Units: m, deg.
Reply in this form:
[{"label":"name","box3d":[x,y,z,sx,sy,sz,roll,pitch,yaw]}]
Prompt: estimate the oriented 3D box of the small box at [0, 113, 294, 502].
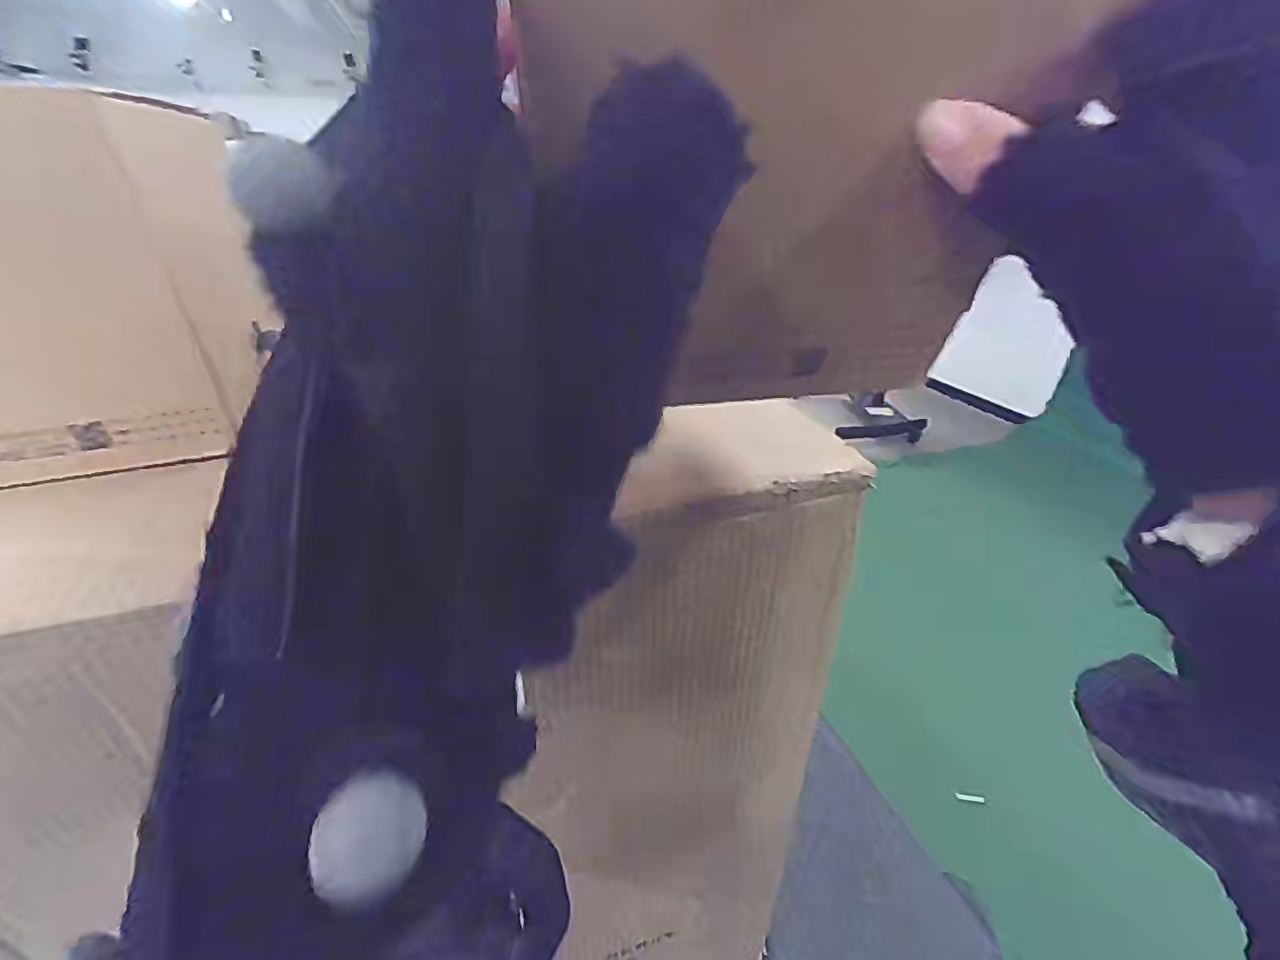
[{"label":"small box","box3d":[-0.326,-0.102,0.310,0.168,0.176,0.179,-12,31,-16]}]
